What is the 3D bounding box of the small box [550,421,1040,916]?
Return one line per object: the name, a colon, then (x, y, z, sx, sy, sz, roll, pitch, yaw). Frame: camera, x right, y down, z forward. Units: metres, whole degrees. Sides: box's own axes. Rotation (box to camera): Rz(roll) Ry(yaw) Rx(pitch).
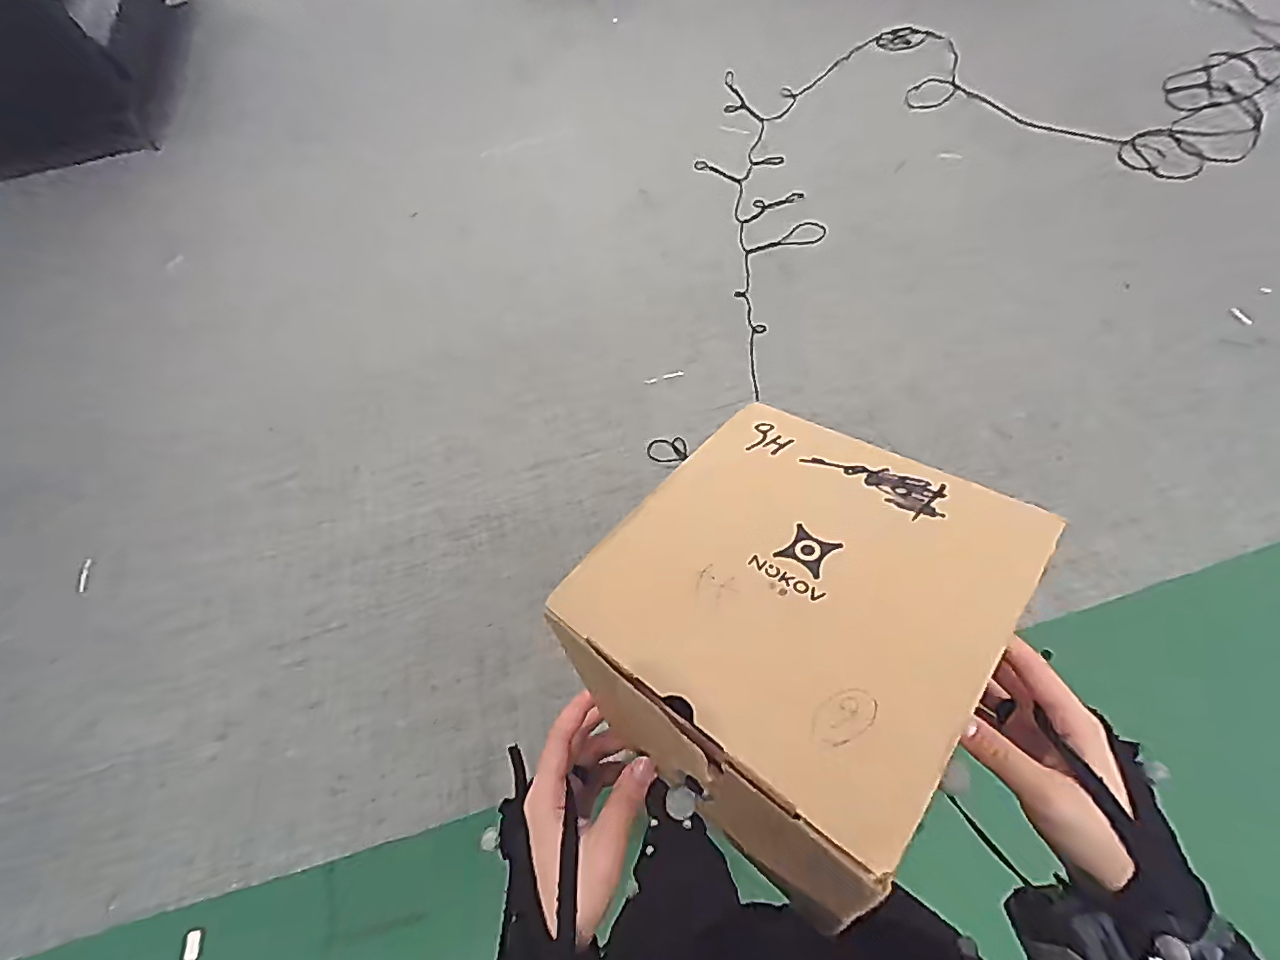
small box: (0.084, 0.102, 0.312, 0.168, 0.176, 0.179, 28, 58, 34)
